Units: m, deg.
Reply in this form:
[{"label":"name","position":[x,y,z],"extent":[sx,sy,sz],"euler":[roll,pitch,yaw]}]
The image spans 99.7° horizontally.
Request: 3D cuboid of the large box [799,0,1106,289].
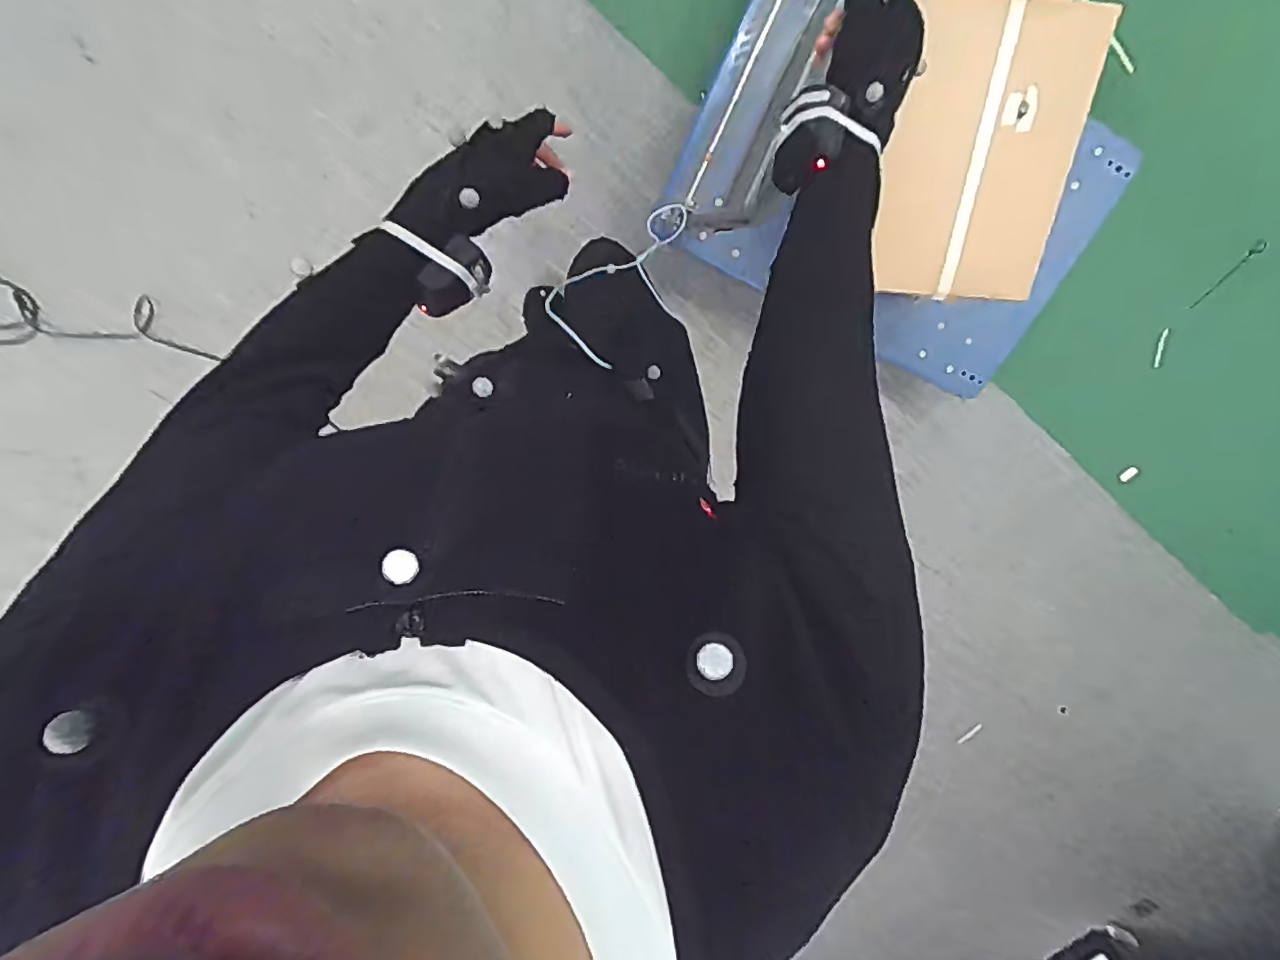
[{"label":"large box","position":[0.503,-0.564,0.975],"extent":[0.320,0.320,0.408],"euler":[3,111,-3]}]
